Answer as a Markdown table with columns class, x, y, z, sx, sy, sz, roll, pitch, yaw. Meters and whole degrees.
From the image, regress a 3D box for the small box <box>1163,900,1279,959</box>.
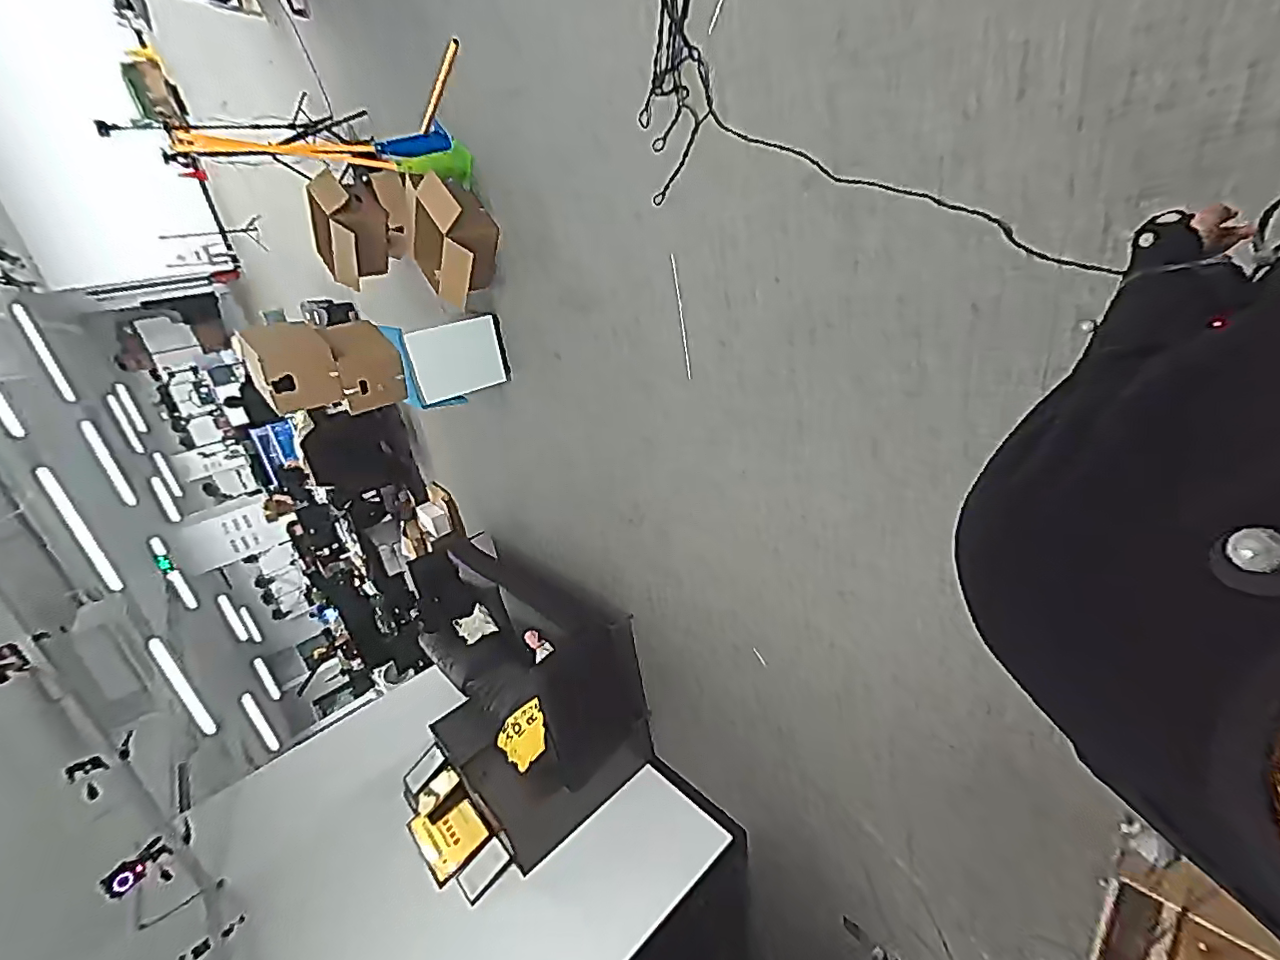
| class | x | y | z | sx | sy | sz | roll | pitch | yaw |
| --- | --- | --- | --- | --- | --- | --- | --- | --- | --- |
| small box | 1.099 | 0.947 | 1.003 | 0.168 | 0.176 | 0.179 | -3 | 109 | 54 |
